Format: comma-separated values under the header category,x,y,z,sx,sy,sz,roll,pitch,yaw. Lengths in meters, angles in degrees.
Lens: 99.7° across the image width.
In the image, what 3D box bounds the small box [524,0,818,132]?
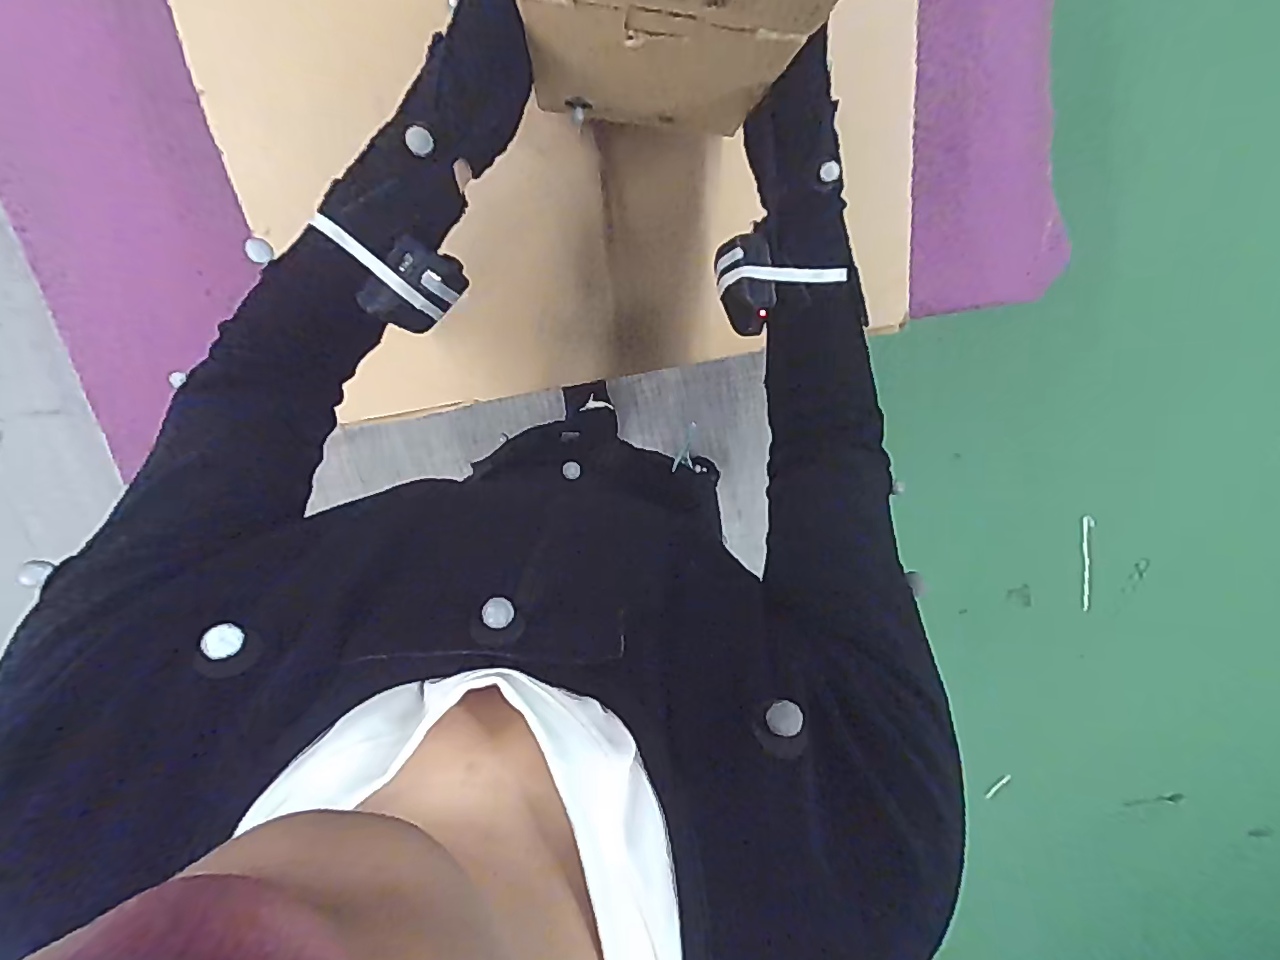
category,x,y,z,sx,sy,sz,roll,pitch,yaw
small box,0.019,-0.357,0.353,0.168,0.176,0.179,4,105,-7
